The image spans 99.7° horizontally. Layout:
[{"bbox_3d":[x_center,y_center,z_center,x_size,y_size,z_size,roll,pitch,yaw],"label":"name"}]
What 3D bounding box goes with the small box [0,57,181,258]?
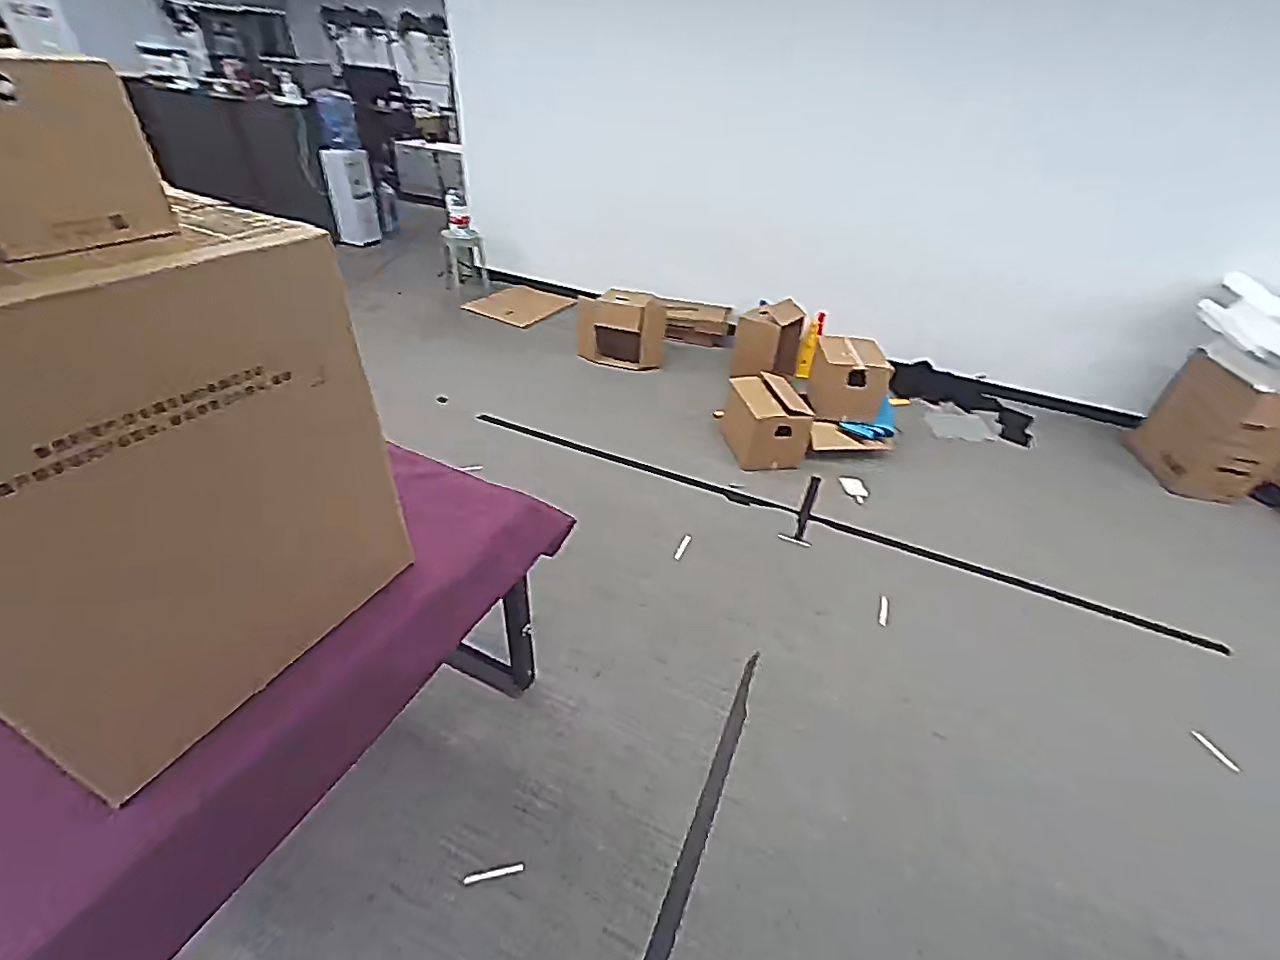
[{"bbox_3d":[-0.661,-0.349,0.582,0.179,0.176,0.168,19,40,19],"label":"small box"}]
